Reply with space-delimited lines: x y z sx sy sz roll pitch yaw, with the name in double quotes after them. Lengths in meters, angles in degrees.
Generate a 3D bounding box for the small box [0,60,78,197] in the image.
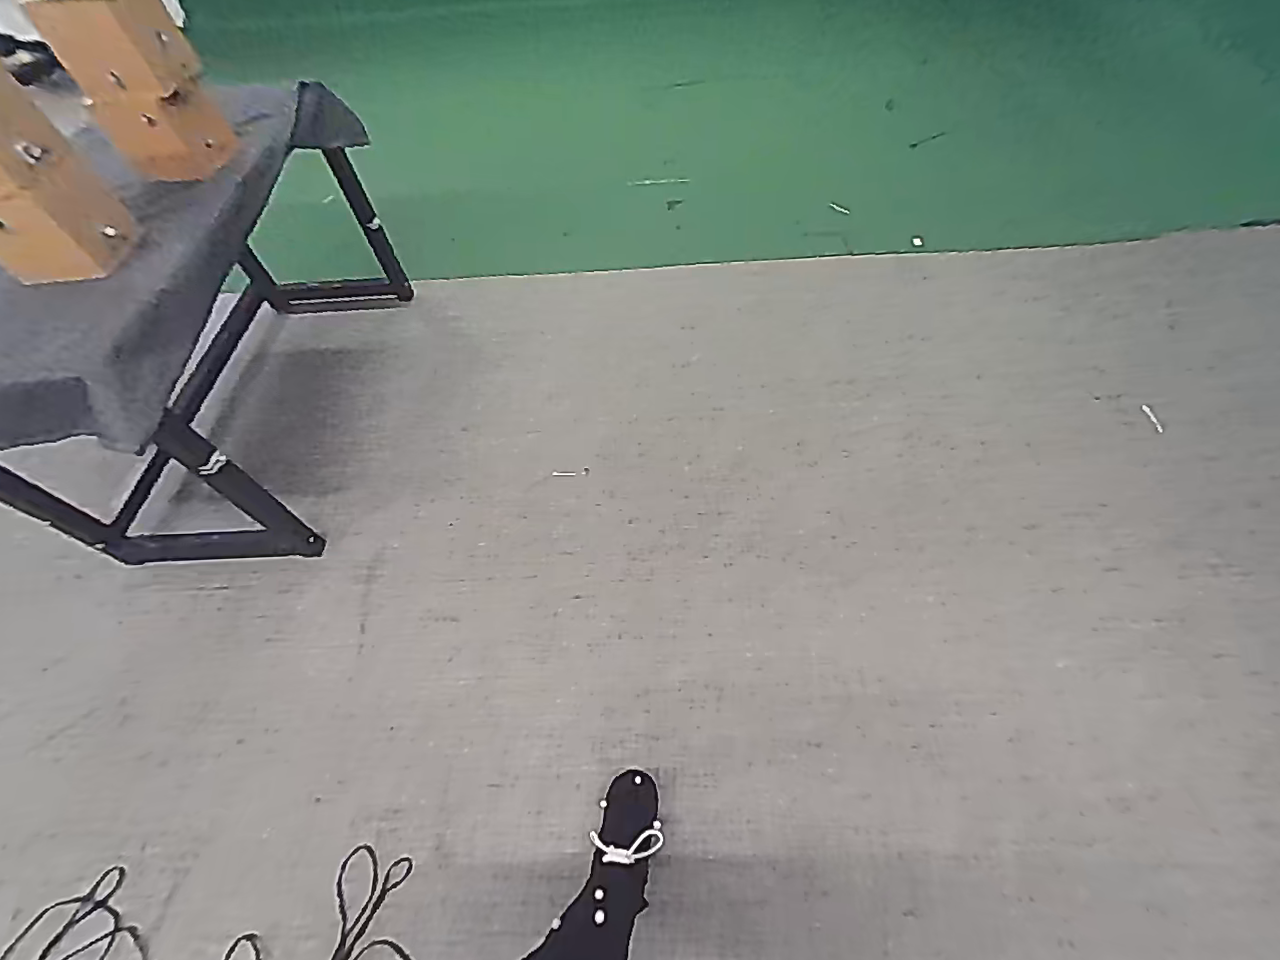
-1.153 -0.597 0.922 0.179 0.176 0.168 -4 57 0 "small box"

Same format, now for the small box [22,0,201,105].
-1.091 -0.918 1.138 0.179 0.176 0.168 -2 56 2 "small box"

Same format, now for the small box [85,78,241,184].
-1.100 -0.814 1.266 0.179 0.176 0.168 1 56 4 "small box"

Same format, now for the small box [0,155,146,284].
-1.144 -0.501 1.054 0.179 0.176 0.168 -5 56 0 "small box"
